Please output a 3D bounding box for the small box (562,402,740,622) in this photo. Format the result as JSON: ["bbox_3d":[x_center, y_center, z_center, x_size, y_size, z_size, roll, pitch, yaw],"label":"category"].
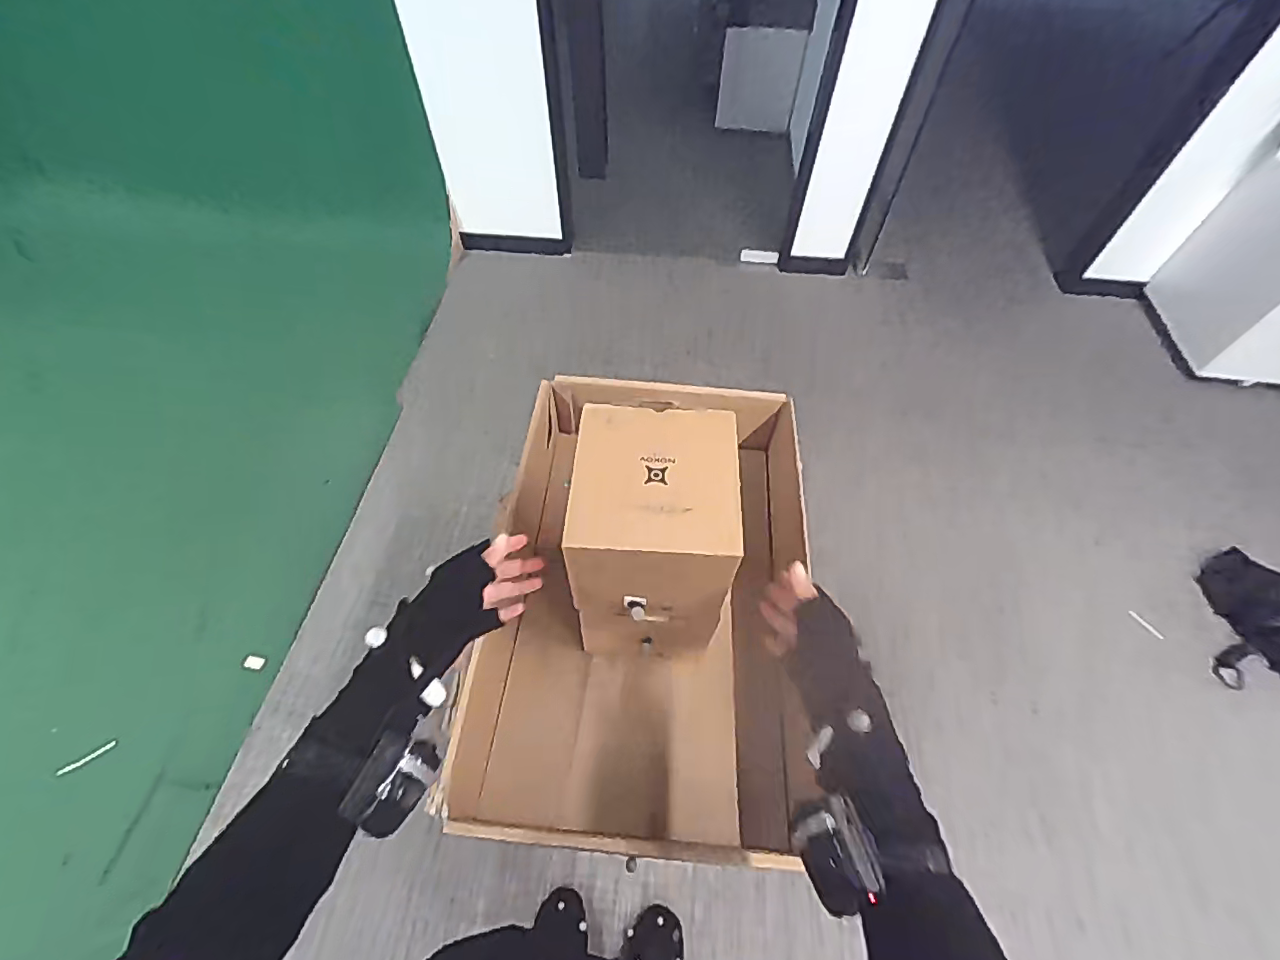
[{"bbox_3d":[0.013,0.039,0.598,0.168,0.176,0.179,4,56,1],"label":"small box"}]

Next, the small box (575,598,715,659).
[{"bbox_3d":[0.011,0.131,0.733,0.168,0.176,0.179,6,56,1],"label":"small box"}]
